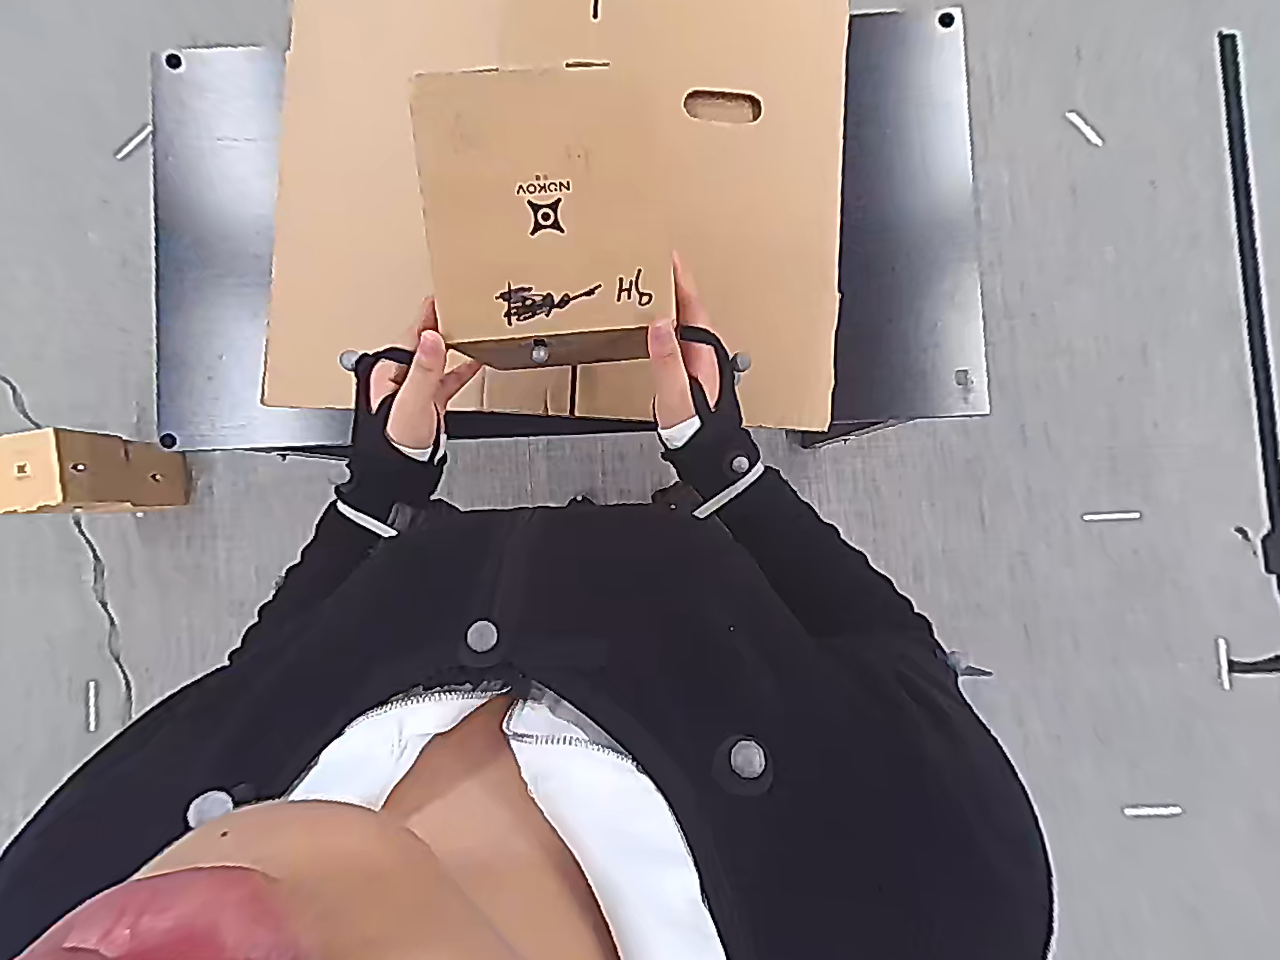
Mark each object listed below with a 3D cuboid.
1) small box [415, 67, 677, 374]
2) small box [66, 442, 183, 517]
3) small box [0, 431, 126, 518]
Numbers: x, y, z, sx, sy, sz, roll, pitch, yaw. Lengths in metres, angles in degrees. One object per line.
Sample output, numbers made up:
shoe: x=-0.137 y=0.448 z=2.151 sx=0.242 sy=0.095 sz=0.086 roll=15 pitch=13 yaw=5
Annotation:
small box: x=-0.066 y=-0.190 z=0.445 sx=0.168 sy=0.176 sz=0.179 roll=-5 pitch=95 yaw=-2
small box: x=-1.369 y=0.002 z=1.438 sx=0.168 sy=0.176 sz=0.179 roll=-7 pitch=88 yaw=0
small box: x=-1.373 y=-0.010 z=1.276 sx=0.168 sy=0.176 sz=0.179 roll=-10 pitch=87 yaw=-1
